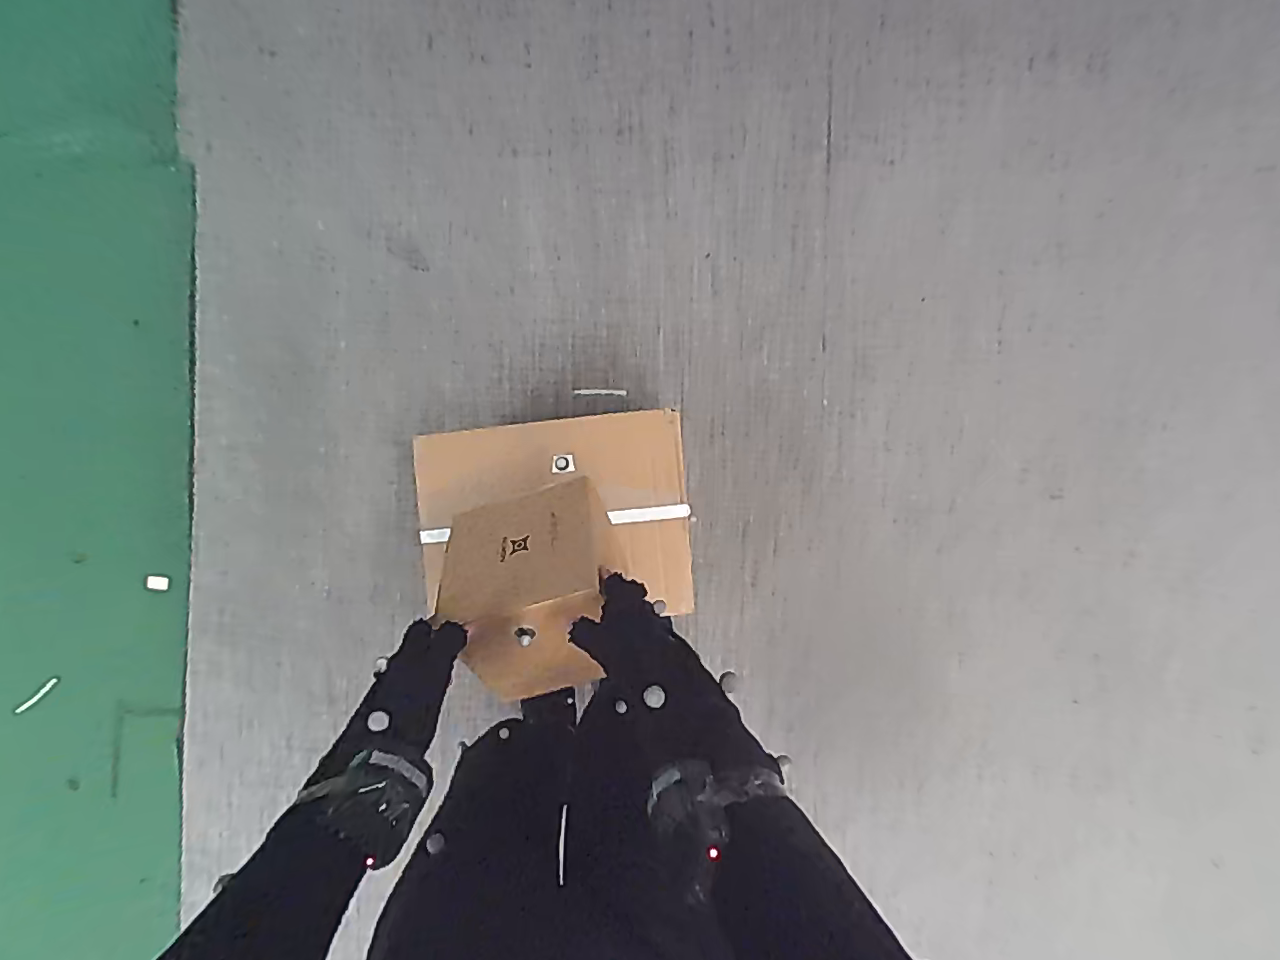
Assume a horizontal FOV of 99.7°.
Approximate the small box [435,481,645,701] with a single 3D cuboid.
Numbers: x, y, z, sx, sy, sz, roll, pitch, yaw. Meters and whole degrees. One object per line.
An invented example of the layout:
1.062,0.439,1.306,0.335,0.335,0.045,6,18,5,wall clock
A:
-0.108,0.135,0.639,0.179,0.168,0.176,-18,130,5,small box
